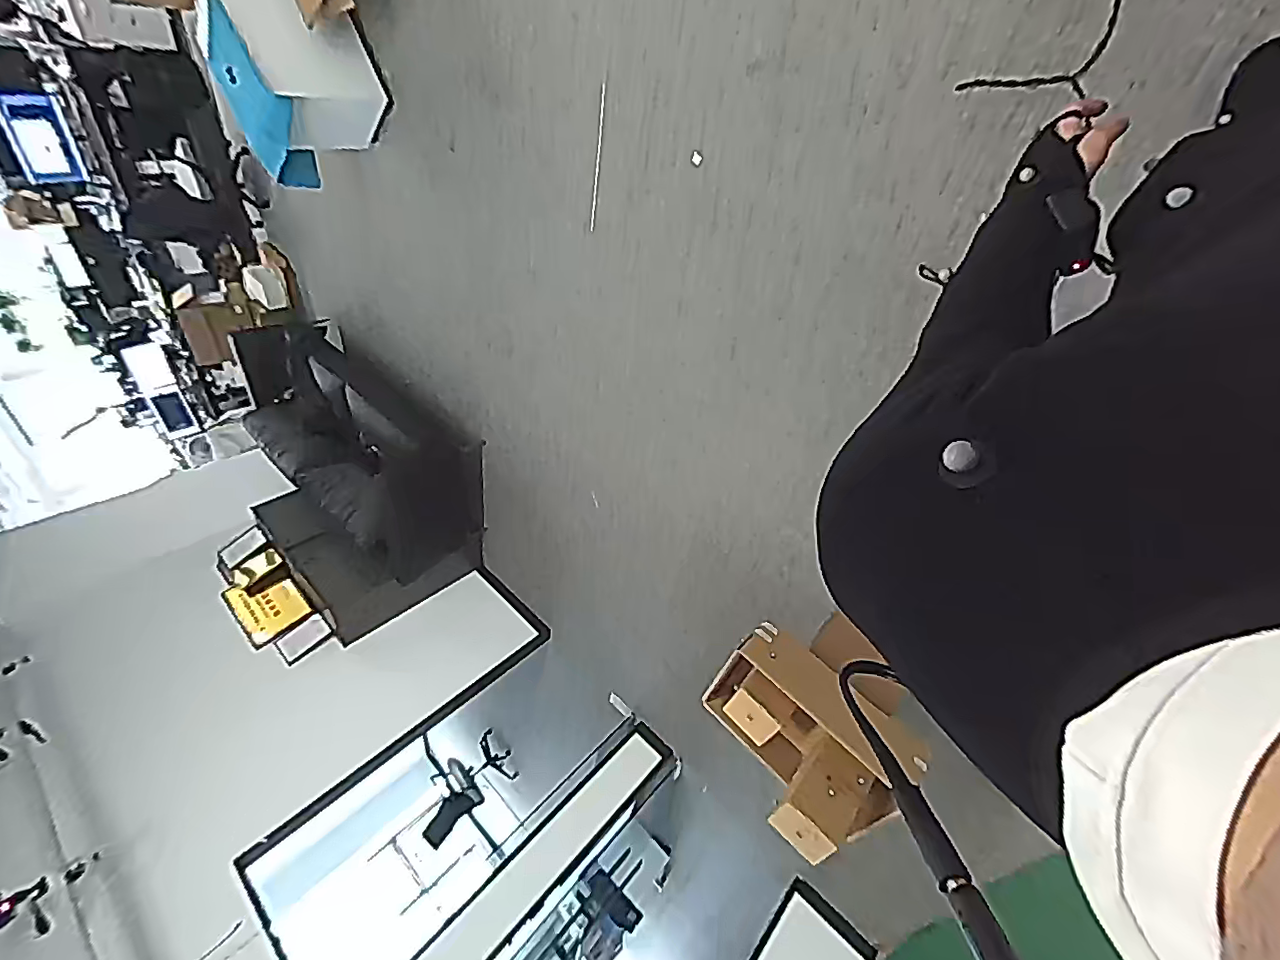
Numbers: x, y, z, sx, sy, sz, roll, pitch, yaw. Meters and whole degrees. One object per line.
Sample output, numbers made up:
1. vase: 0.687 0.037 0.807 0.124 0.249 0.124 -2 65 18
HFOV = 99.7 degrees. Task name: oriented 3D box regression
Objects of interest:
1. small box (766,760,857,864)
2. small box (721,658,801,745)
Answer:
1. small box: 0.502 0.962 1.575 0.168 0.176 0.179 37 135 24
2. small box: 0.406 0.731 1.794 0.168 0.176 0.179 41 136 22
